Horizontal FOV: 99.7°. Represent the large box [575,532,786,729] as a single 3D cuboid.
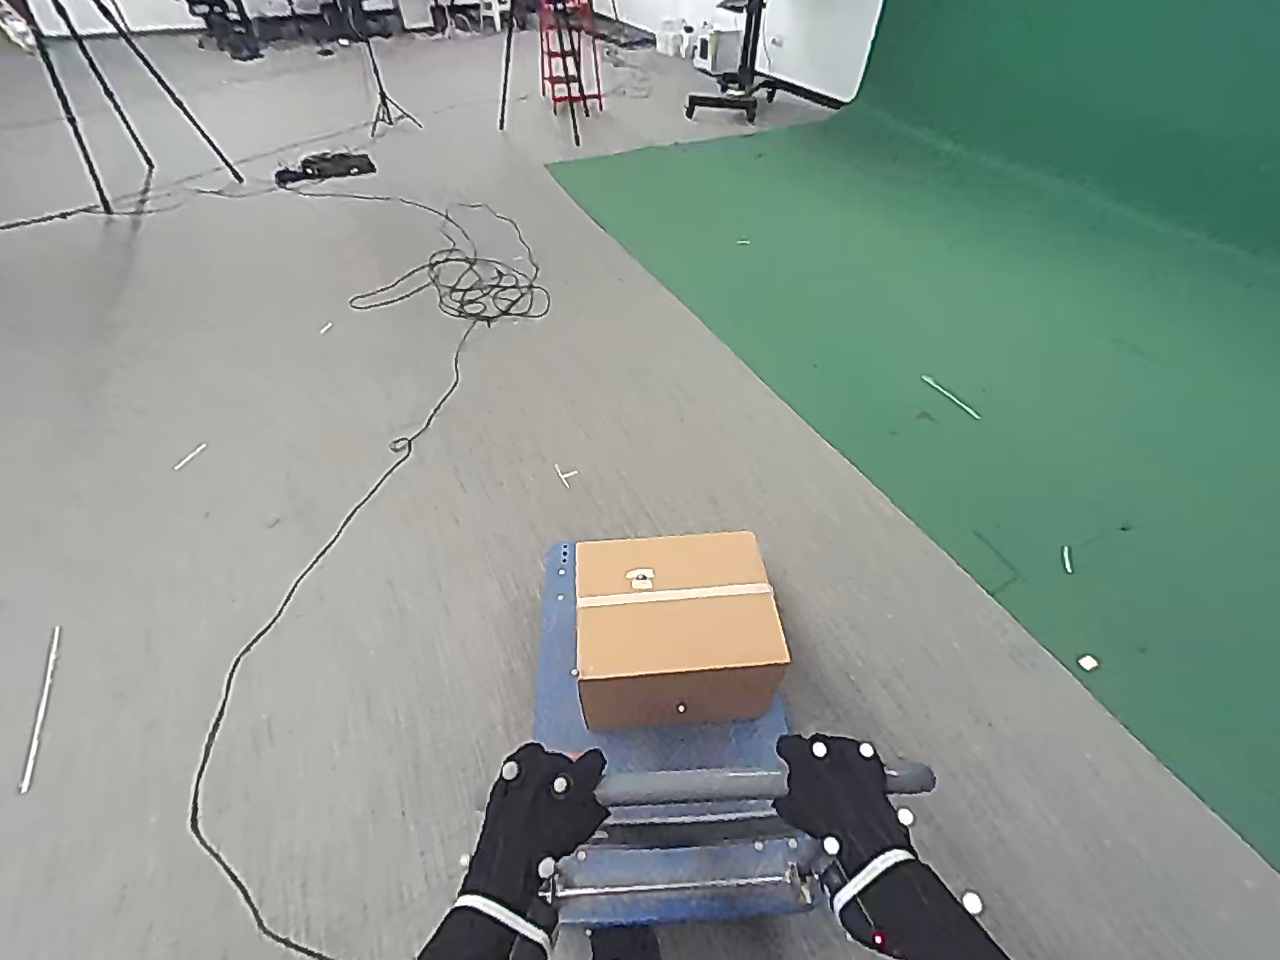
[{"bbox_3d":[0.071,0.345,1.226,0.408,0.320,0.320,-4,48,-3],"label":"large box"}]
